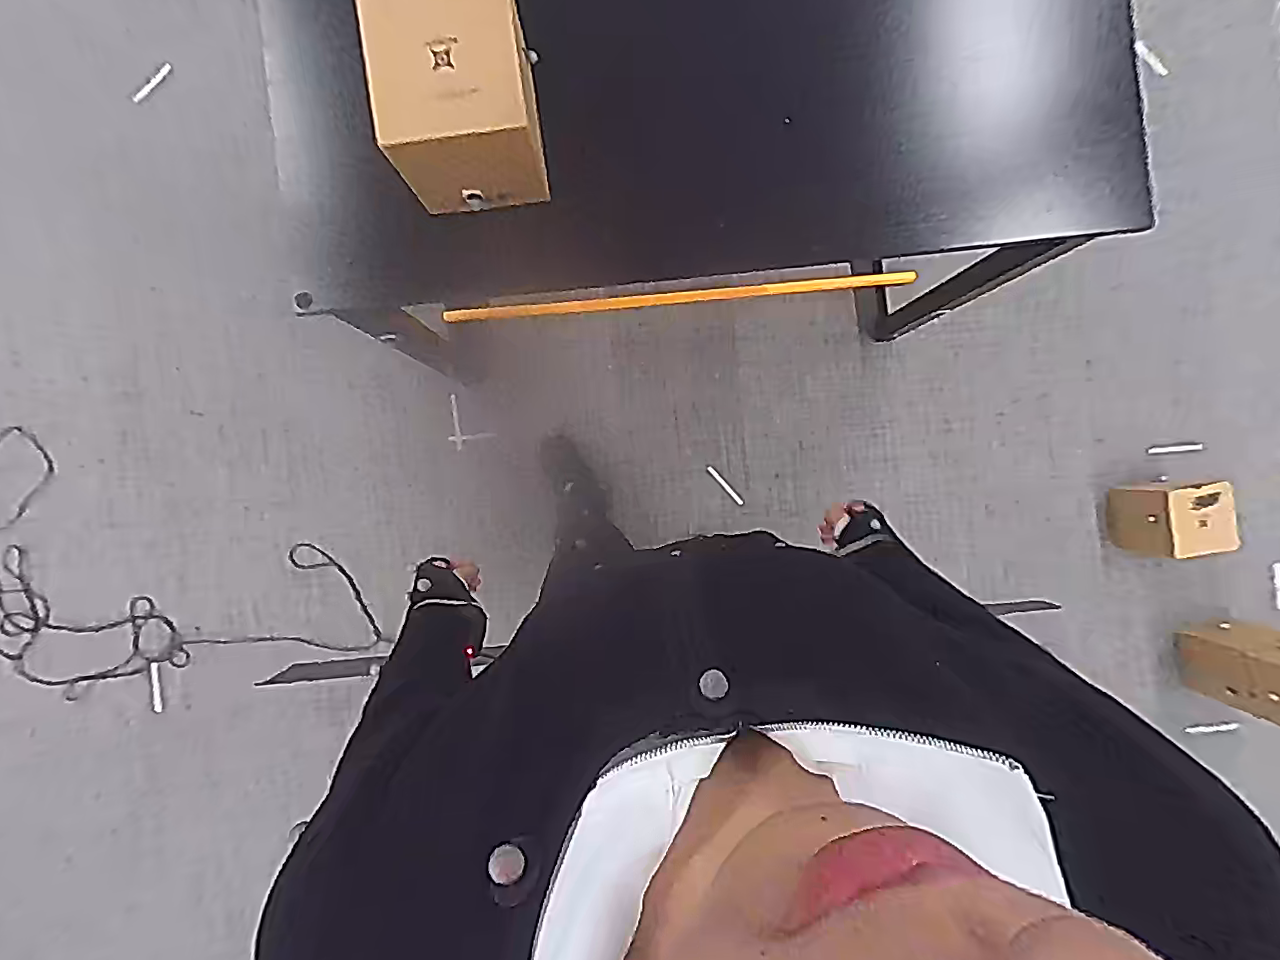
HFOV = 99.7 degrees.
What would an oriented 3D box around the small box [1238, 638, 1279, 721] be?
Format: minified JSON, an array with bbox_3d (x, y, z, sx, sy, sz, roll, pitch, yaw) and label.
[{"bbox_3d":[1.594,0.486,1.287,0.179,0.176,0.168,-13,92,0],"label":"small box"}]

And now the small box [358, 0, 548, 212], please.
[{"bbox_3d":[-0.215,-0.462,0.662,0.168,0.176,0.179,-9,92,0],"label":"small box"}]

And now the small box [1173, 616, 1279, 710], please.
[{"bbox_3d":[1.599,0.484,1.451,0.168,0.176,0.179,-12,92,-1],"label":"small box"}]

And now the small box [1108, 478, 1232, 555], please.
[{"bbox_3d":[1.396,0.091,1.437,0.168,0.176,0.179,-9,92,-1],"label":"small box"}]
